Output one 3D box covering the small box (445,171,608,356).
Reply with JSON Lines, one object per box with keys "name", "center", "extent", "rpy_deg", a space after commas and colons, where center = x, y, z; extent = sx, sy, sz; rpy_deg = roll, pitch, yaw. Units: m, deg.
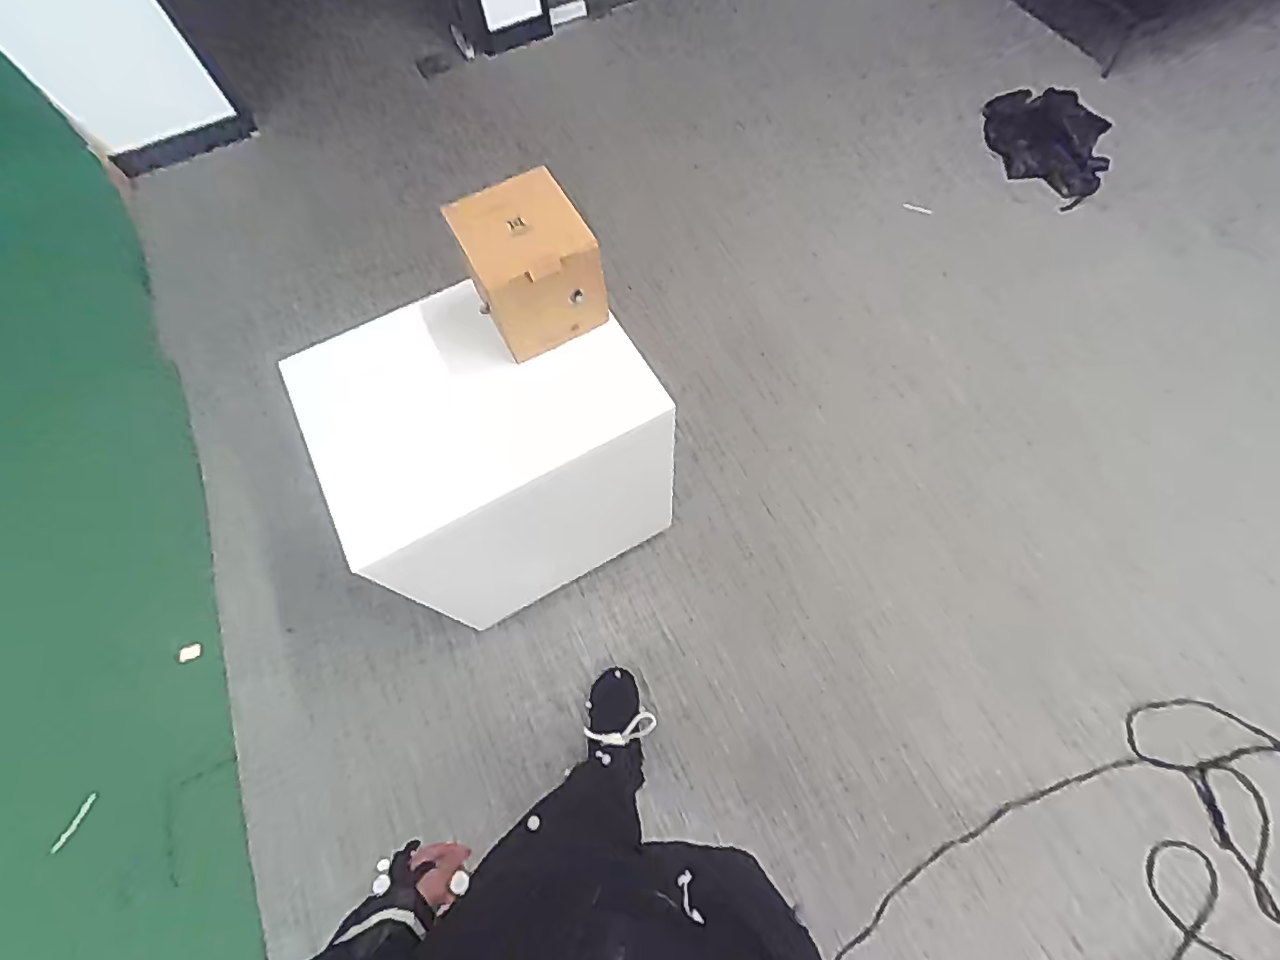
{"name": "small box", "center": [-0.159, -0.312, 0.813], "extent": [0.168, 0.176, 0.179], "rpy_deg": [-28, 68, -10]}
